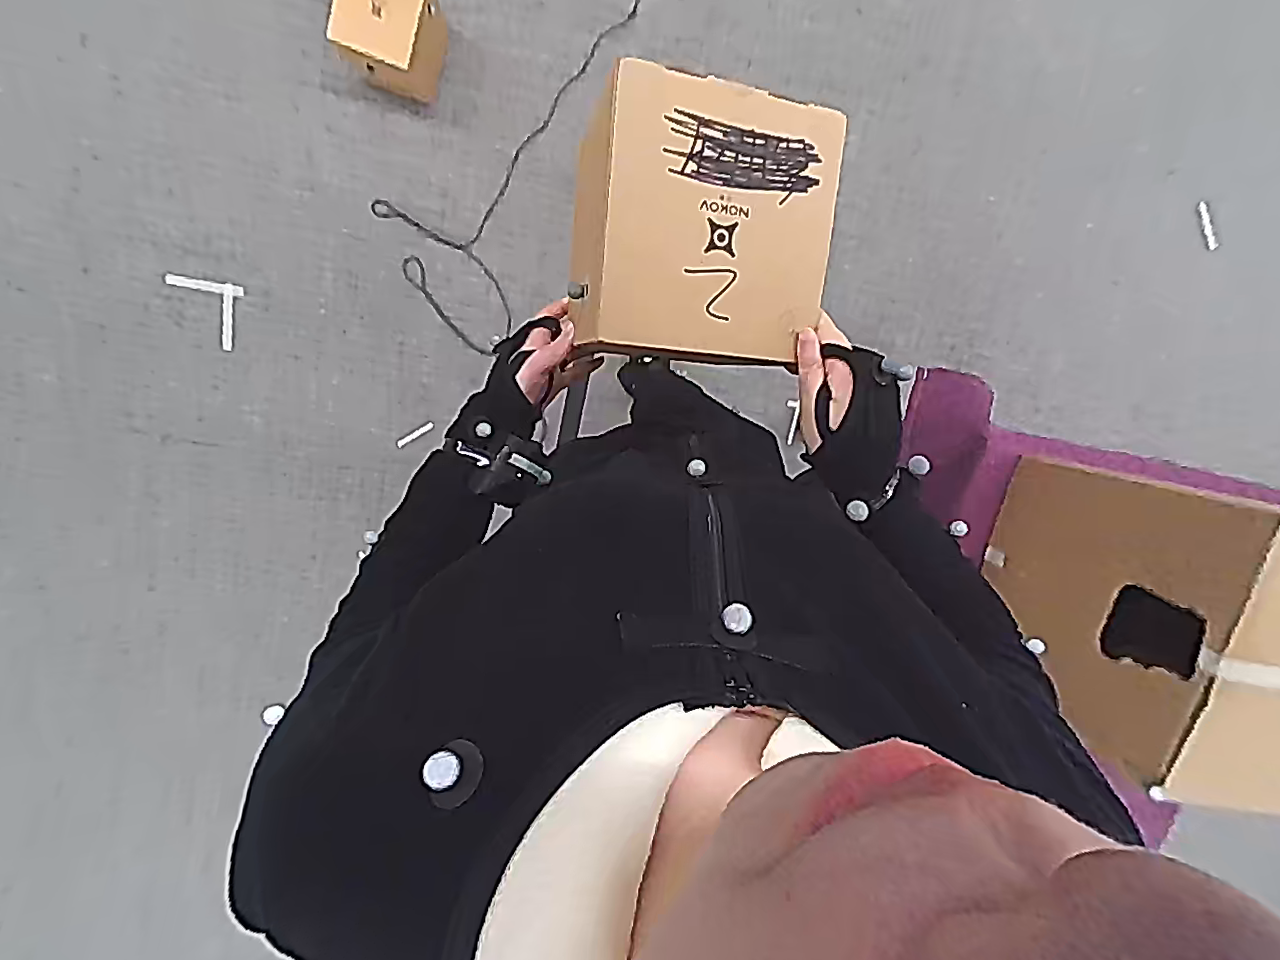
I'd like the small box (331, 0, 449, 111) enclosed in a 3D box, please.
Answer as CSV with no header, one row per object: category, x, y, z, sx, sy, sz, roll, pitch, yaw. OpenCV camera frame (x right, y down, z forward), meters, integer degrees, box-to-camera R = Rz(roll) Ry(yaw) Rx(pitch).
small box,-0.528,-0.943,1.163,0.168,0.176,0.179,17,100,-8
